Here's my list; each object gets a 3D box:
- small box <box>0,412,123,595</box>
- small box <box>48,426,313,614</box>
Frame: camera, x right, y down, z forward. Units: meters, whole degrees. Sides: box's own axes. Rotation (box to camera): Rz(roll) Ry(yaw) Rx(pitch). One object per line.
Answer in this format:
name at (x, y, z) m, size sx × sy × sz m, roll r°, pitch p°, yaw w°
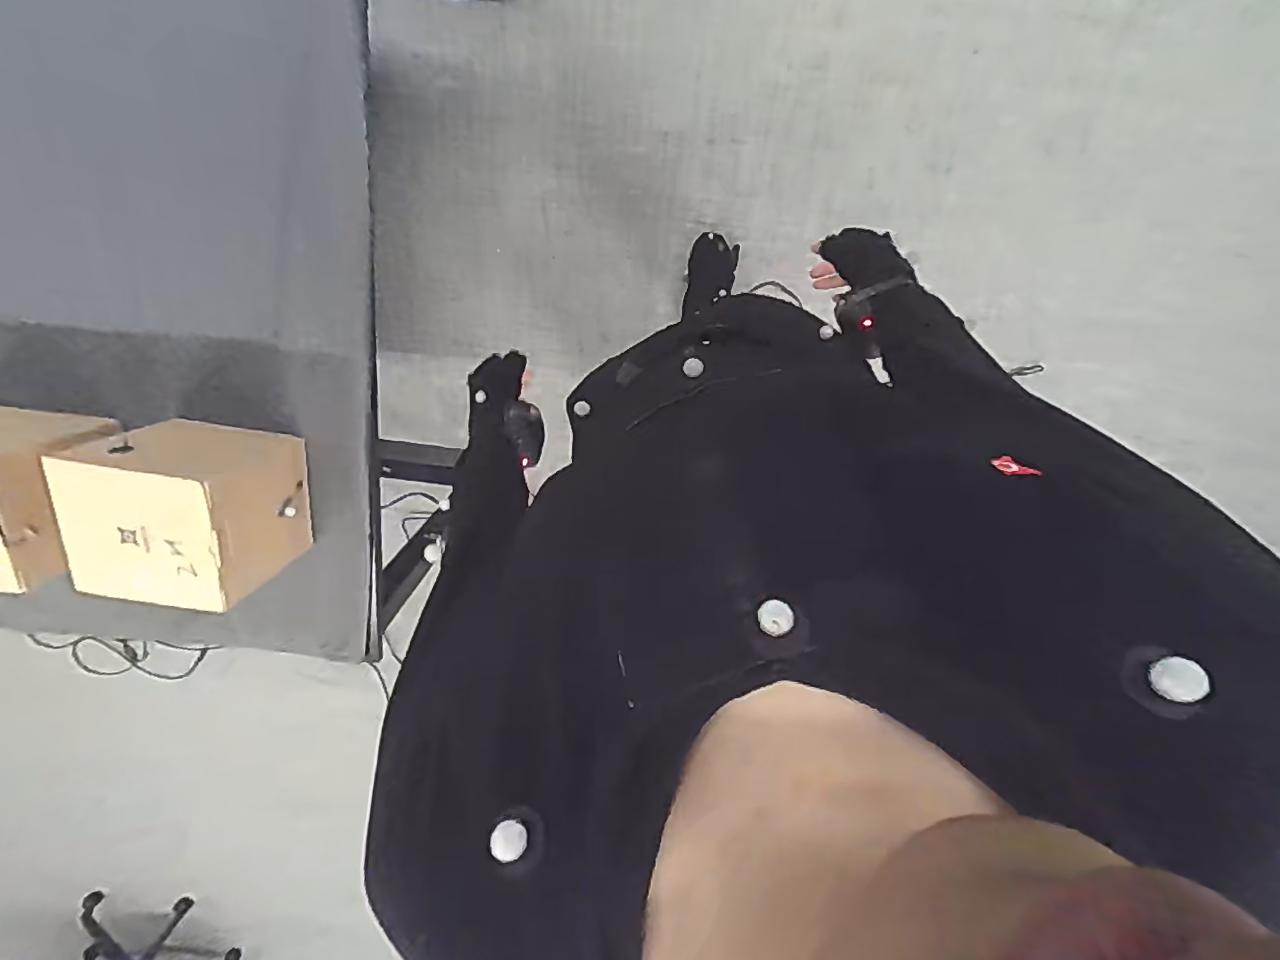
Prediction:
small box at (-0.779, 0.020, 0.666) m, size 0.179 × 0.176 × 0.168 m, roll 7°, pitch 111°, yaw -1°
small box at (-0.543, 0.039, 0.667) m, size 0.179 × 0.176 × 0.168 m, roll 8°, pitch 110°, yaw -1°
